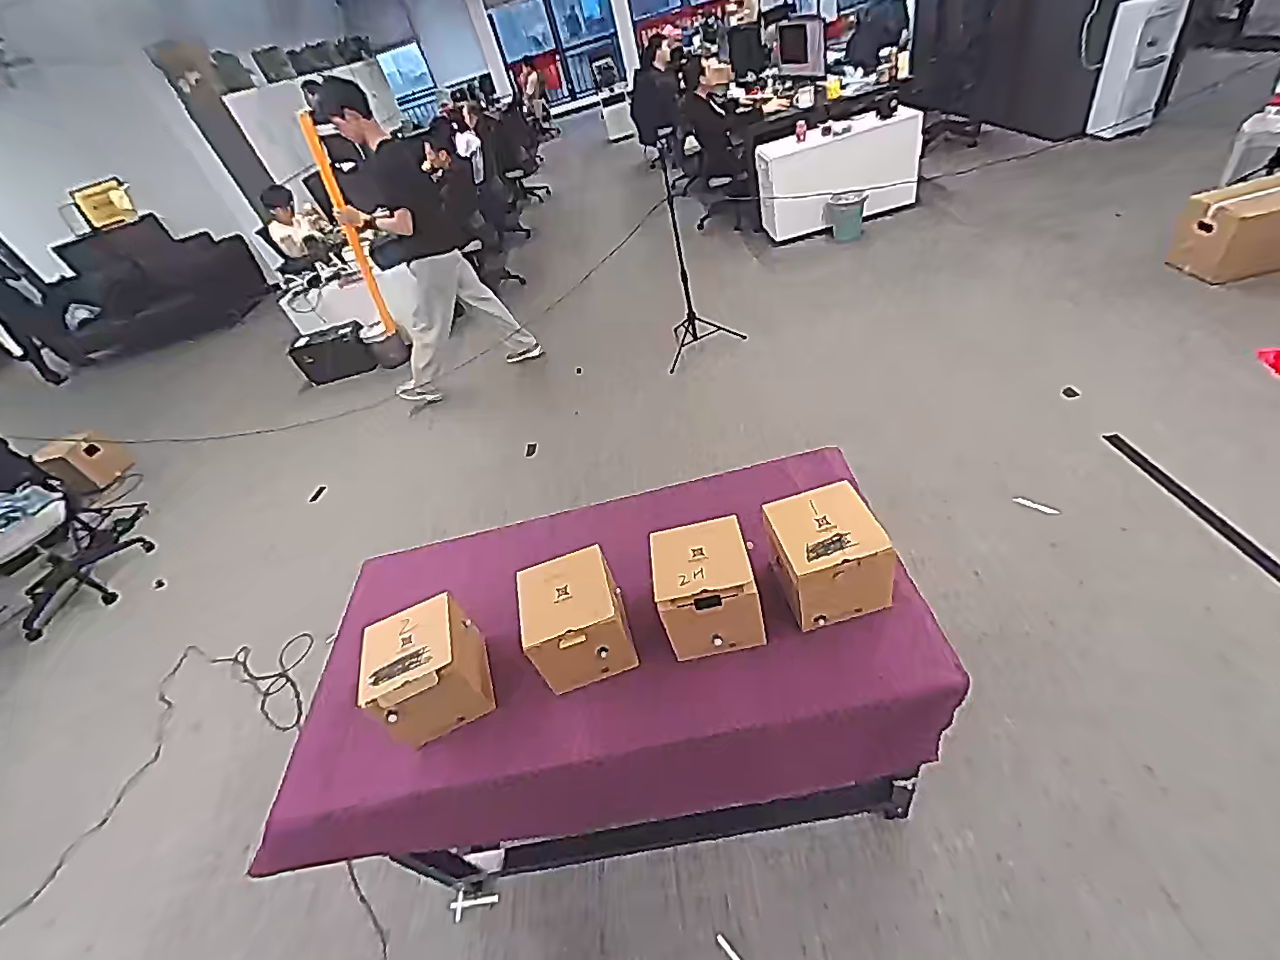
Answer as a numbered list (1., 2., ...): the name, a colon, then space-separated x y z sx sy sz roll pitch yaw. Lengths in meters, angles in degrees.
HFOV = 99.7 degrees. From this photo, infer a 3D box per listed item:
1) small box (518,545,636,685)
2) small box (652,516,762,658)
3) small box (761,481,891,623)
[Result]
1. small box: -0.117 0.258 1.010 0.168 0.176 0.179 -19 40 -1
2. small box: 0.121 0.196 0.989 0.168 0.176 0.179 -13 41 7
3. small box: 0.333 0.136 0.977 0.168 0.176 0.179 -17 40 2
